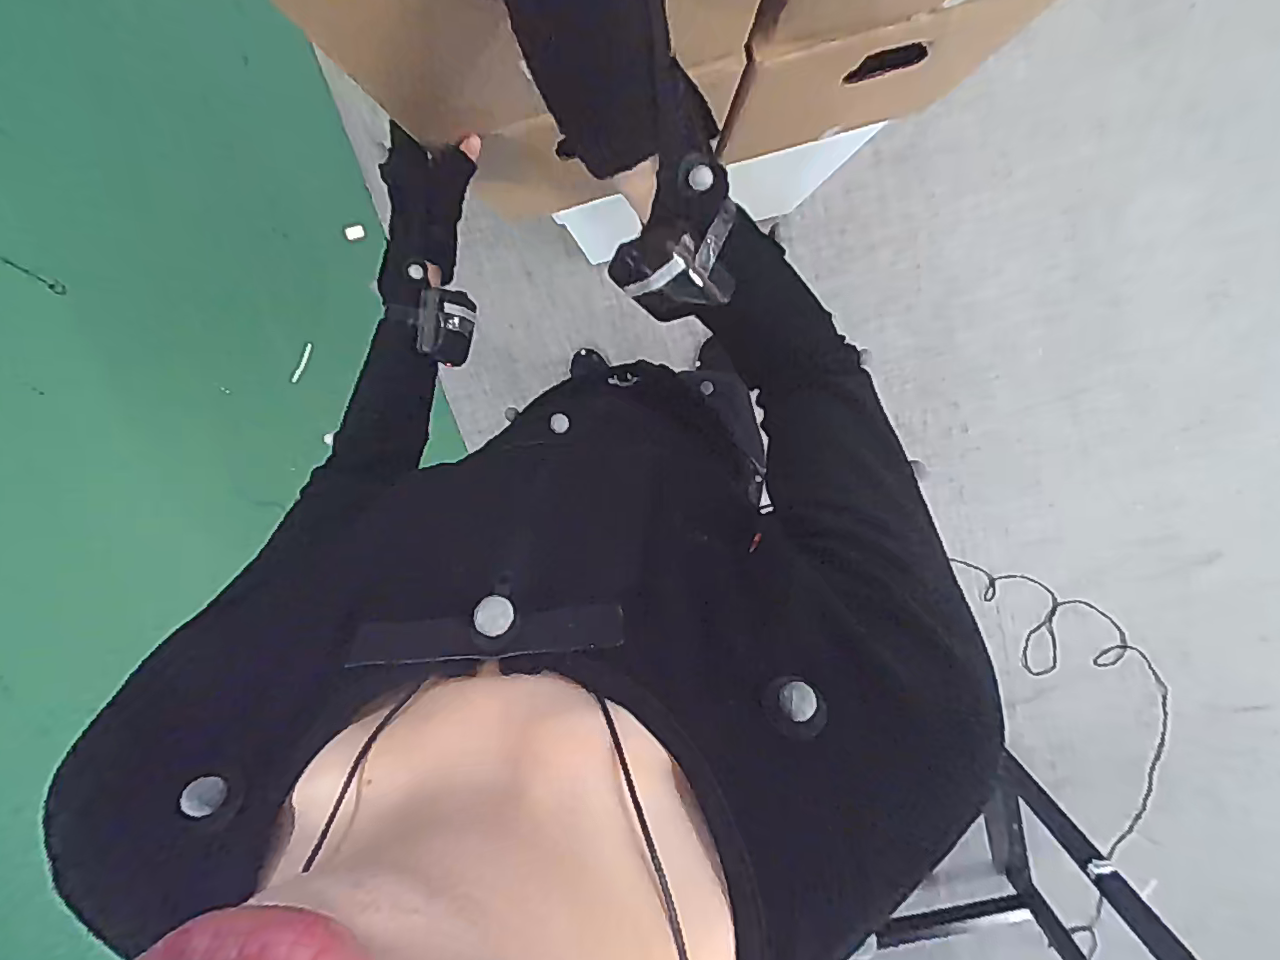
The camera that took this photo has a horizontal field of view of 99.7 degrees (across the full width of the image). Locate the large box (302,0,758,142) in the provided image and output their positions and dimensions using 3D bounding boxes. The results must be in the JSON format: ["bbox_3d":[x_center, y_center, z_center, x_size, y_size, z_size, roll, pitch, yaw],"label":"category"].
[{"bbox_3d":[-0.105,-0.503,0.307,0.320,0.320,0.408,-16,102,3],"label":"large box"}]
